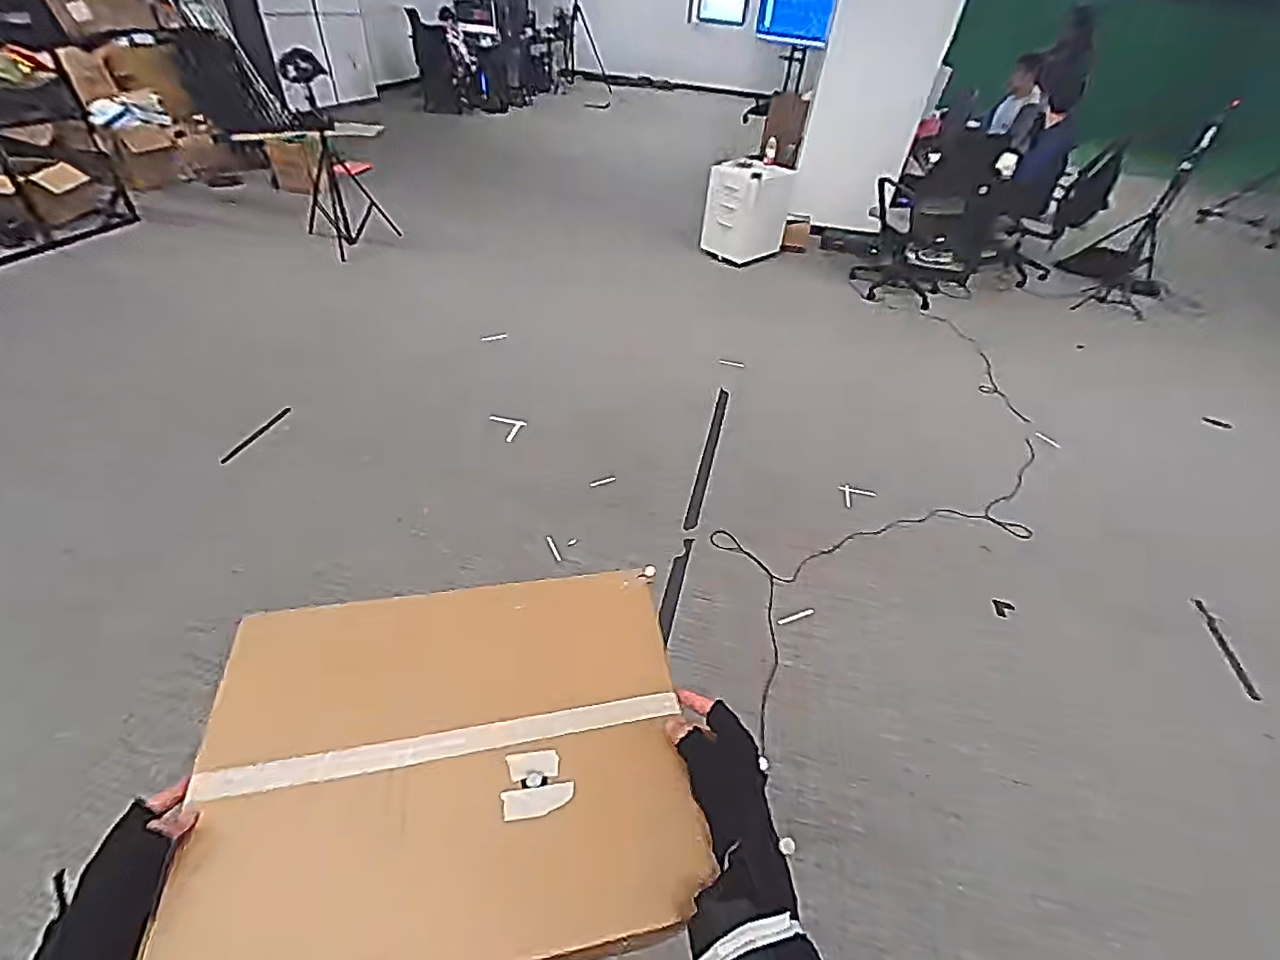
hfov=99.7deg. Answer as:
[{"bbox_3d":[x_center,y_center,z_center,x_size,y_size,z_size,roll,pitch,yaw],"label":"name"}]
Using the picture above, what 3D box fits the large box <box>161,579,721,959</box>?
[{"bbox_3d":[-0.173,0.340,0.588,0.408,0.320,0.320,-4,49,-12],"label":"large box"}]
